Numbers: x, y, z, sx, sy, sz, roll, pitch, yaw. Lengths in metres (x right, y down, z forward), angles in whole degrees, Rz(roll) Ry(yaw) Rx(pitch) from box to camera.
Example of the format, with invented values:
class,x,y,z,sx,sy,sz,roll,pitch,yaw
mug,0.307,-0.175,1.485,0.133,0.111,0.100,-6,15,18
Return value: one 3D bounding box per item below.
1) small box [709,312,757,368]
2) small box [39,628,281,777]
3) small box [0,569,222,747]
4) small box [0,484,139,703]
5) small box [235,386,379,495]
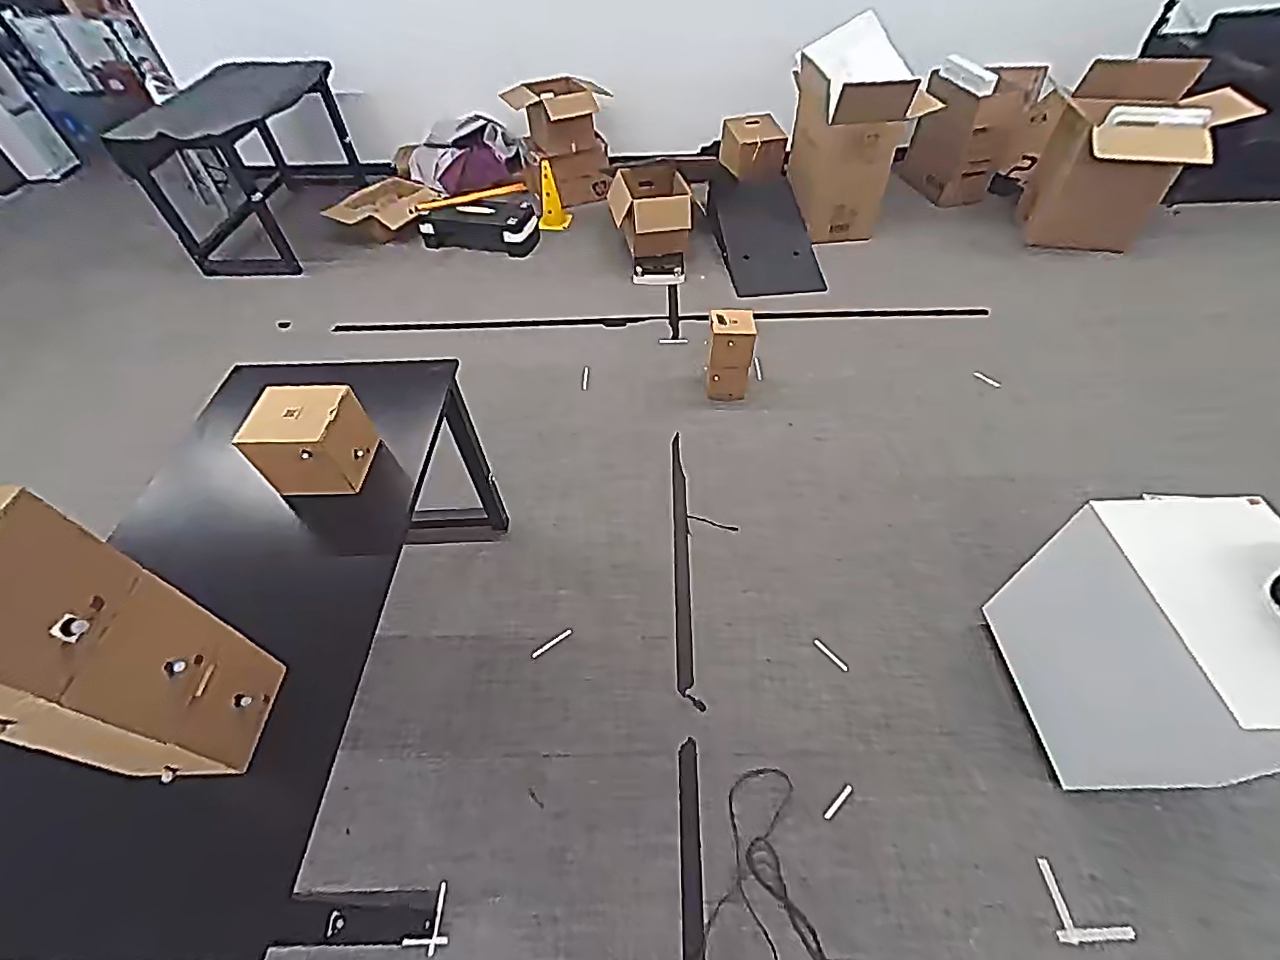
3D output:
class,x,y,z,sx,sy,sz,roll,pitch,yaw
small box,0.380,-0.581,2.249,0.179,0.176,0.168,0,50,0
small box,-0.683,0.332,0.802,0.179,0.176,0.168,-2,50,0
small box,-0.690,0.226,0.676,0.179,0.176,0.168,-2,51,0
small box,-0.694,0.121,0.551,0.179,0.176,0.168,-2,51,0
small box,-0.691,-0.080,1.146,0.179,0.176,0.168,-1,50,1
